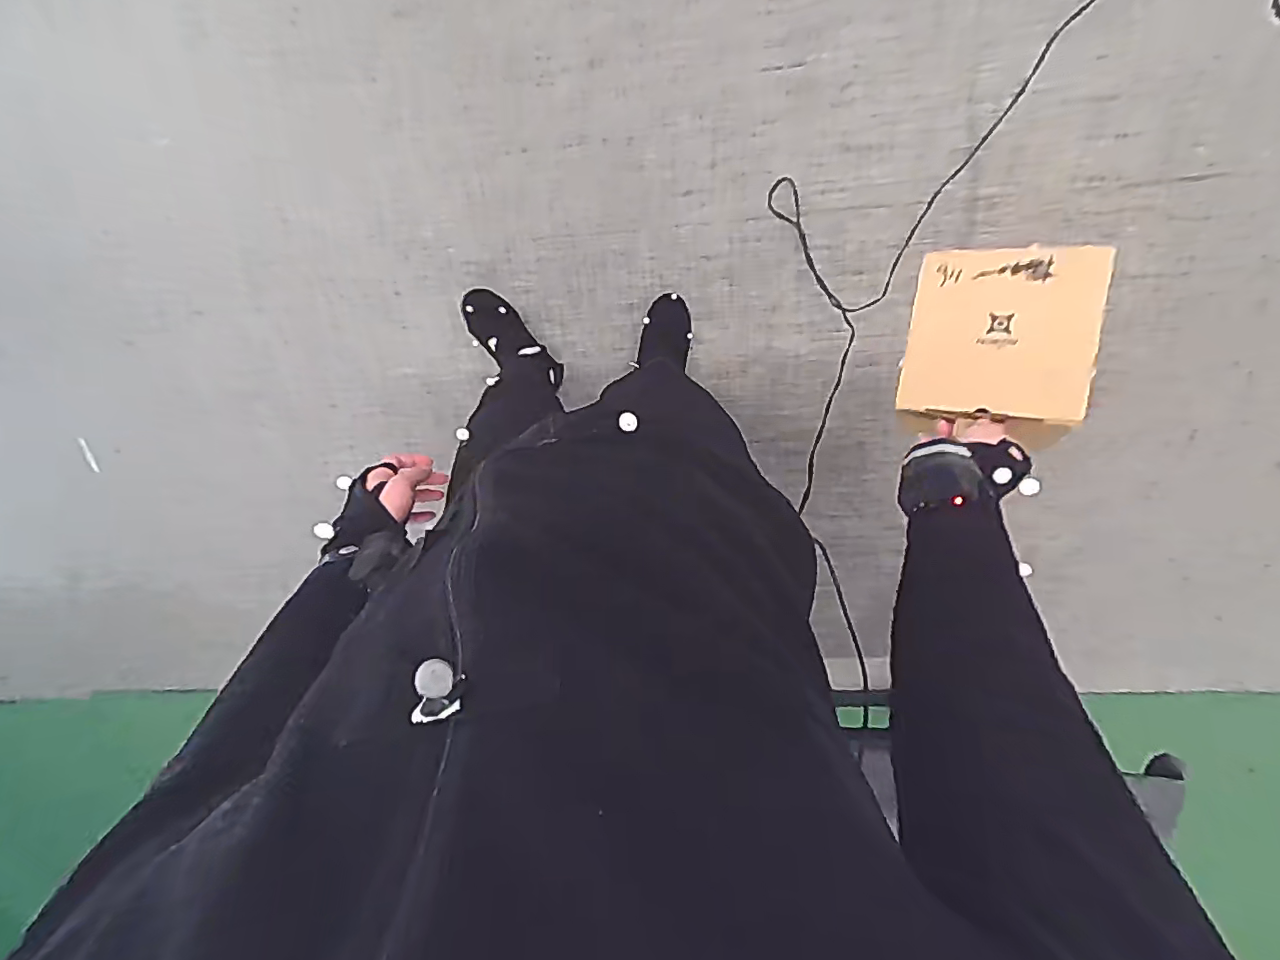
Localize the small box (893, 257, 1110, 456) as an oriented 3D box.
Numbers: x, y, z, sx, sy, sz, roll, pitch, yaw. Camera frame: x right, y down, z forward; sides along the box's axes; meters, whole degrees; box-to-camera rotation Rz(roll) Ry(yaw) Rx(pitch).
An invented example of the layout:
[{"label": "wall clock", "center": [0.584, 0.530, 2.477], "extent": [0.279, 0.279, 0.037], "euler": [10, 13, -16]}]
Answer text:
[{"label": "small box", "center": [0.404, -0.133, 0.626], "extent": [0.168, 0.176, 0.179], "euler": [11, 87, 30]}]
